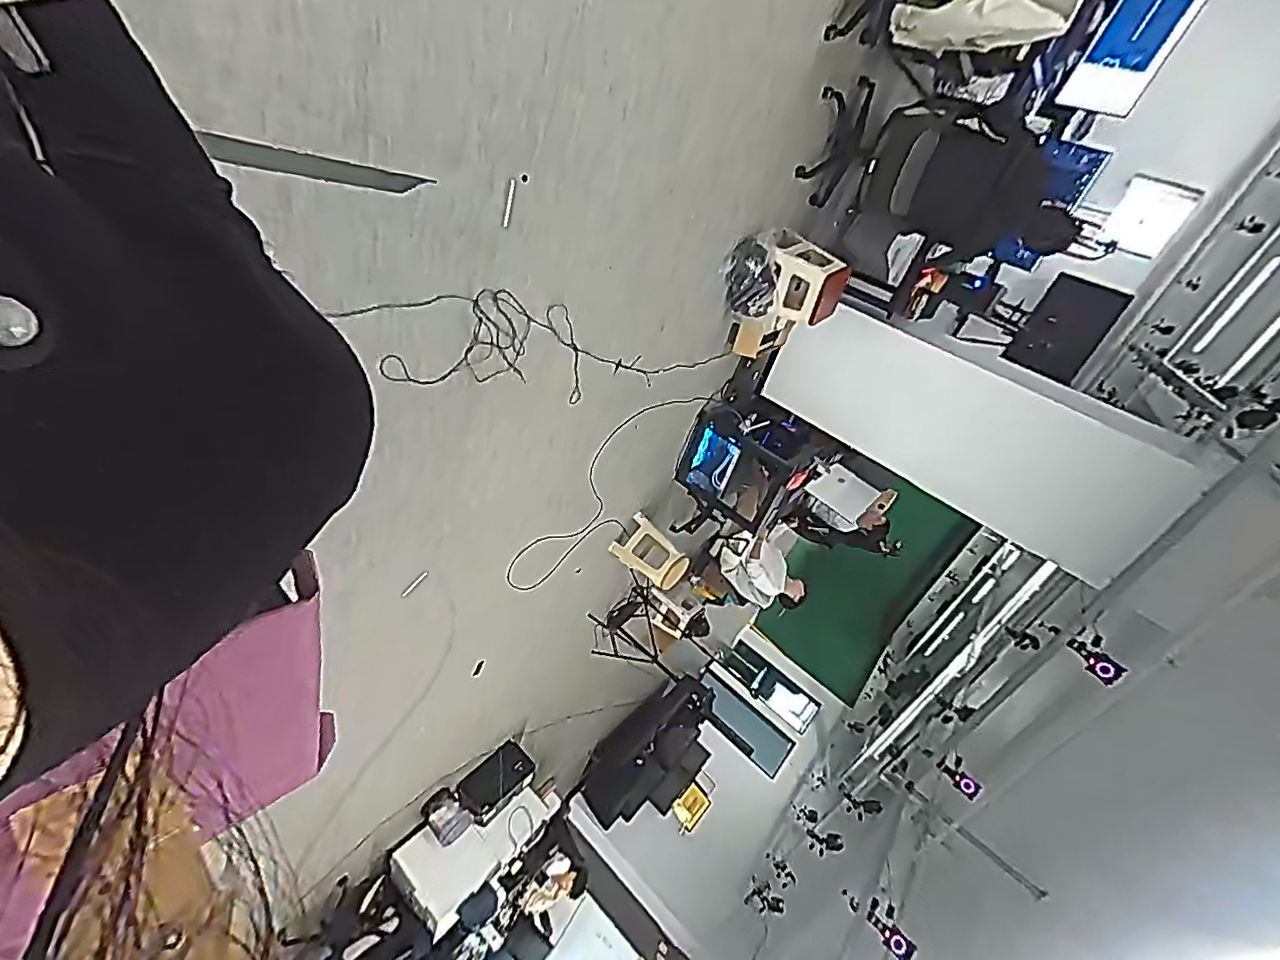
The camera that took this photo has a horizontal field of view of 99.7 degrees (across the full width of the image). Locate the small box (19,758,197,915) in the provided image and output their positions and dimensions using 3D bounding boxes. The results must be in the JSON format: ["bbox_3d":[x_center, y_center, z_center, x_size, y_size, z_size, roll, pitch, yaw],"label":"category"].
[{"bbox_3d":[-0.841,0.588,0.868,0.168,0.176,0.179,-21,140,-50],"label":"small box"}]

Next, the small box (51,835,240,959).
[{"bbox_3d":[-0.722,0.681,0.803,0.168,0.176,0.179,-22,142,-50],"label":"small box"}]
